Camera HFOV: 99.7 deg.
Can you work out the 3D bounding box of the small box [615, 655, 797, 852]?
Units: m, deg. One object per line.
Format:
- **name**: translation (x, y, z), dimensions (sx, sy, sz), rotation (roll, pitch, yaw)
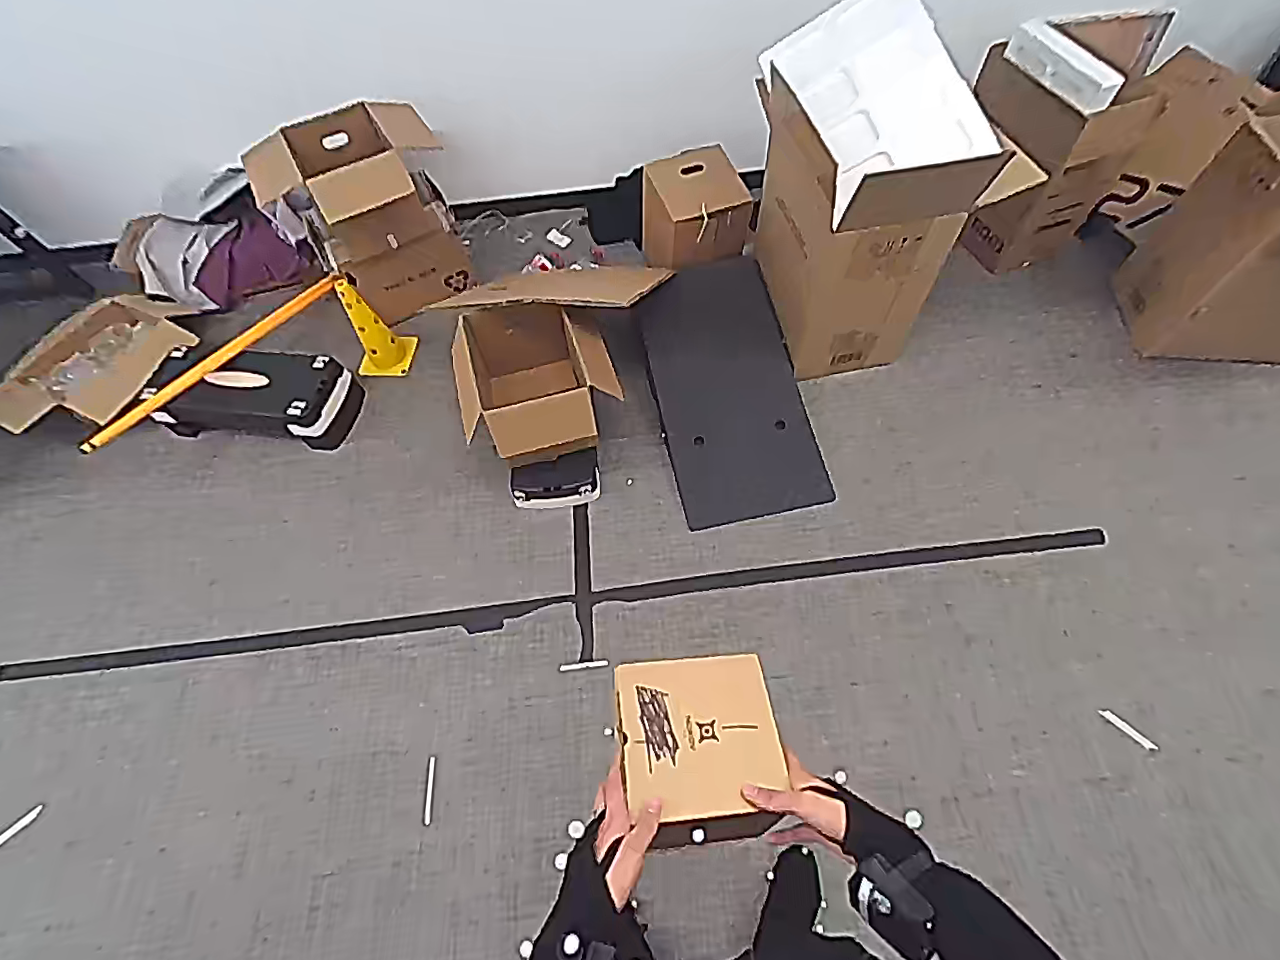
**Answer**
- **small box**: translation (0.062, 0.326, 0.643), dimensions (0.179, 0.176, 0.168), rotation (-2, 49, -7)
